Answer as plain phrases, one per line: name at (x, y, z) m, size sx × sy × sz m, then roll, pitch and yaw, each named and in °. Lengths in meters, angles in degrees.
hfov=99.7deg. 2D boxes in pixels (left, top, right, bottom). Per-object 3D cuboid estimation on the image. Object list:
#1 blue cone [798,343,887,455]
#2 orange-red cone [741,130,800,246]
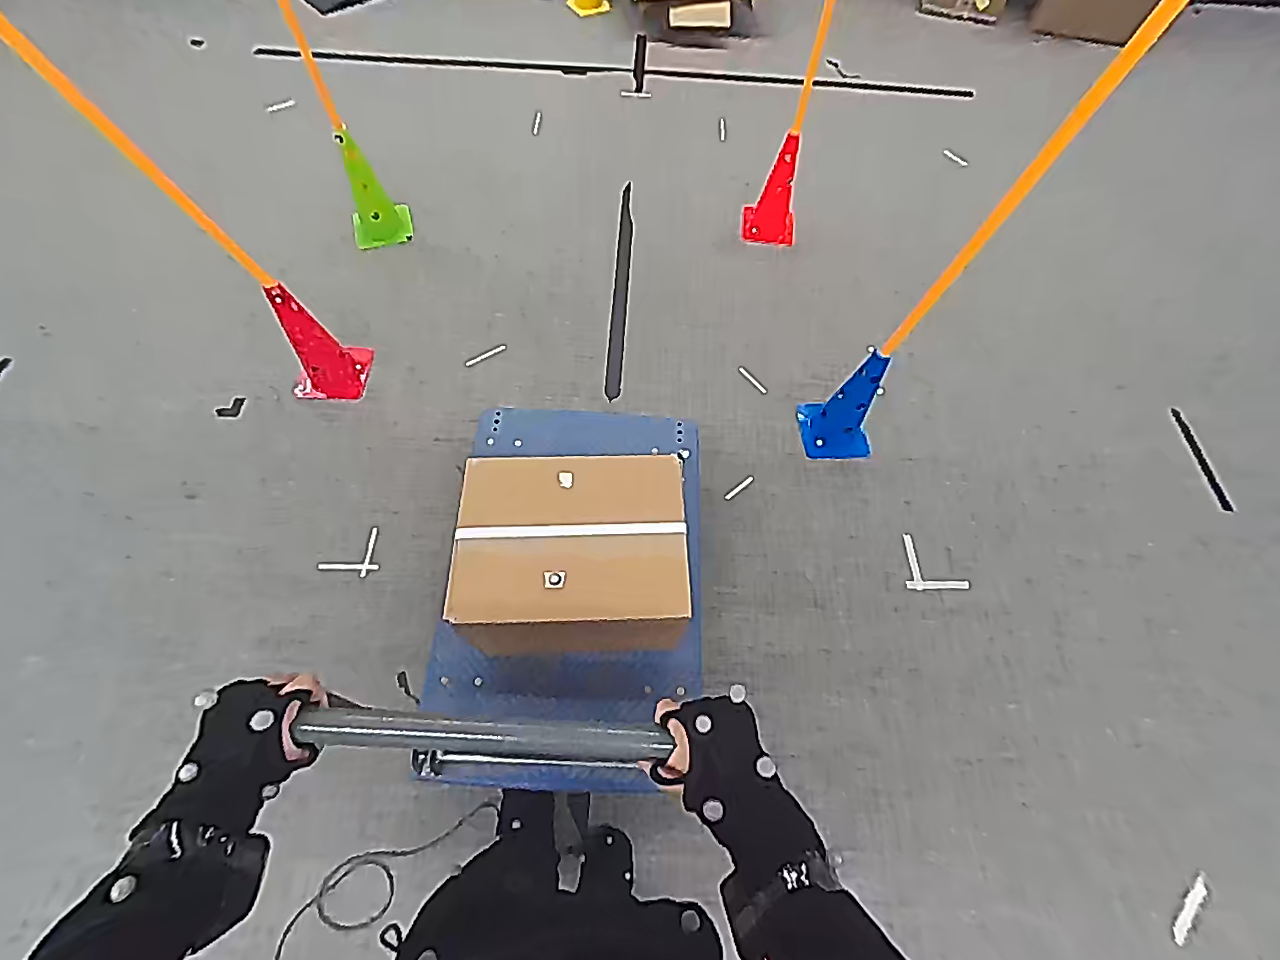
blue cone at (0.601, -0.237, 1.523) m, size 0.193 × 0.380 × 0.192 m, roll -1°, pitch 62°, yaw -4°
orange-red cone at (0.500, -1.051, 1.919) m, size 0.199 × 0.360 × 0.198 m, roll 9°, pitch 63°, yaw 1°
